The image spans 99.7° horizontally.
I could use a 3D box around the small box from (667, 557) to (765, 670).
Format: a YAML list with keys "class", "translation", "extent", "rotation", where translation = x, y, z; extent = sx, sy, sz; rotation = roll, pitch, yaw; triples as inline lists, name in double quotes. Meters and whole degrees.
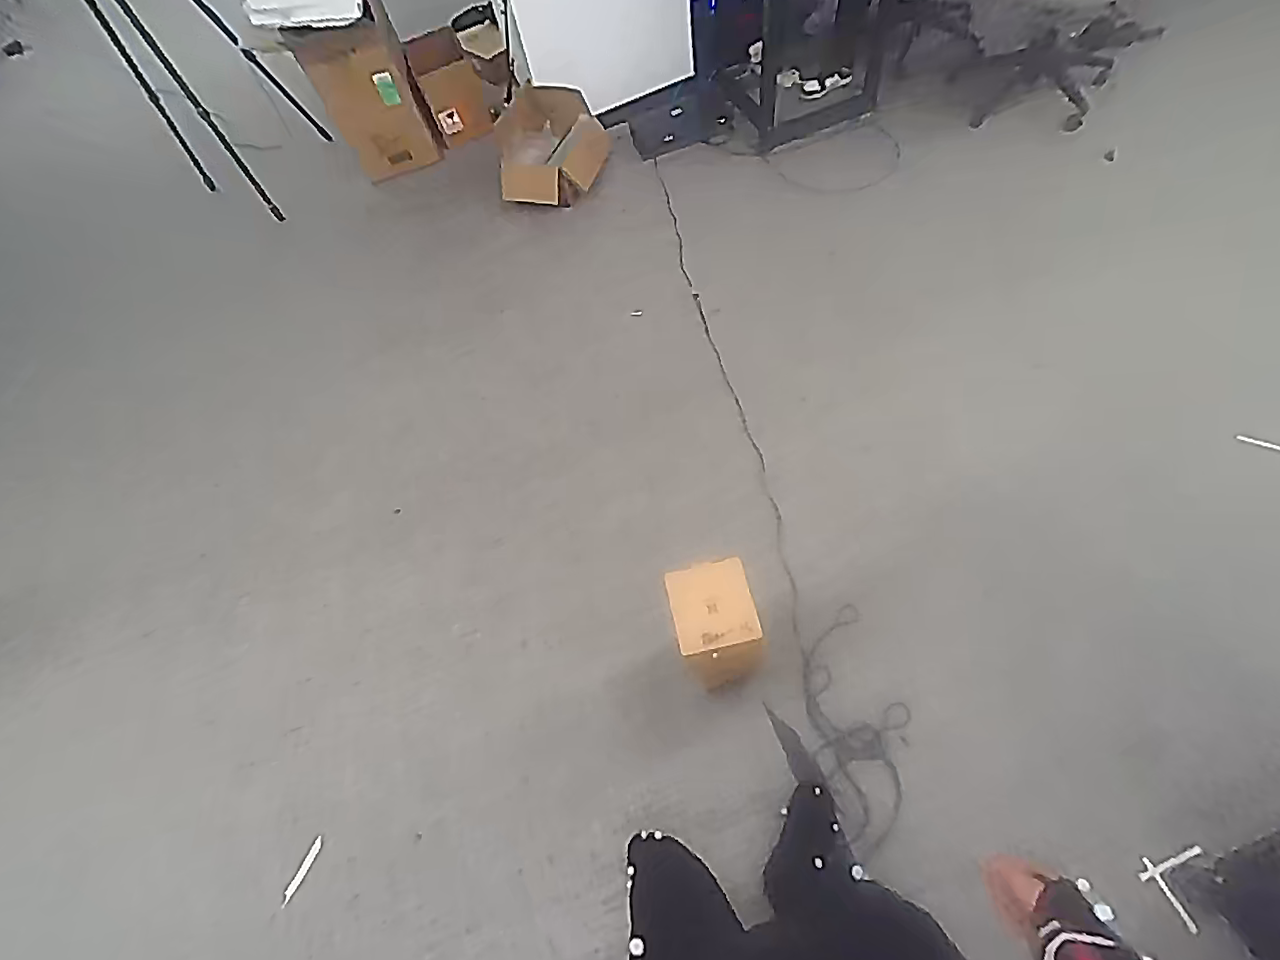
- class: "small box"
  translation: [0.161, 0.291, 1.160]
  extent: [0.168, 0.176, 0.179]
  rotation: [-14, 60, 3]

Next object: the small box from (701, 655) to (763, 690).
- class: "small box"
  translation: [0.215, 0.441, 1.445]
  extent: [0.168, 0.176, 0.179]
  rotation: [-22, 61, -1]

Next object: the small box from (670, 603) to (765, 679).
- class: "small box"
  translation: [0.189, 0.365, 1.303]
  extent: [0.179, 0.176, 0.168]
  rotation: [-20, 60, -1]
